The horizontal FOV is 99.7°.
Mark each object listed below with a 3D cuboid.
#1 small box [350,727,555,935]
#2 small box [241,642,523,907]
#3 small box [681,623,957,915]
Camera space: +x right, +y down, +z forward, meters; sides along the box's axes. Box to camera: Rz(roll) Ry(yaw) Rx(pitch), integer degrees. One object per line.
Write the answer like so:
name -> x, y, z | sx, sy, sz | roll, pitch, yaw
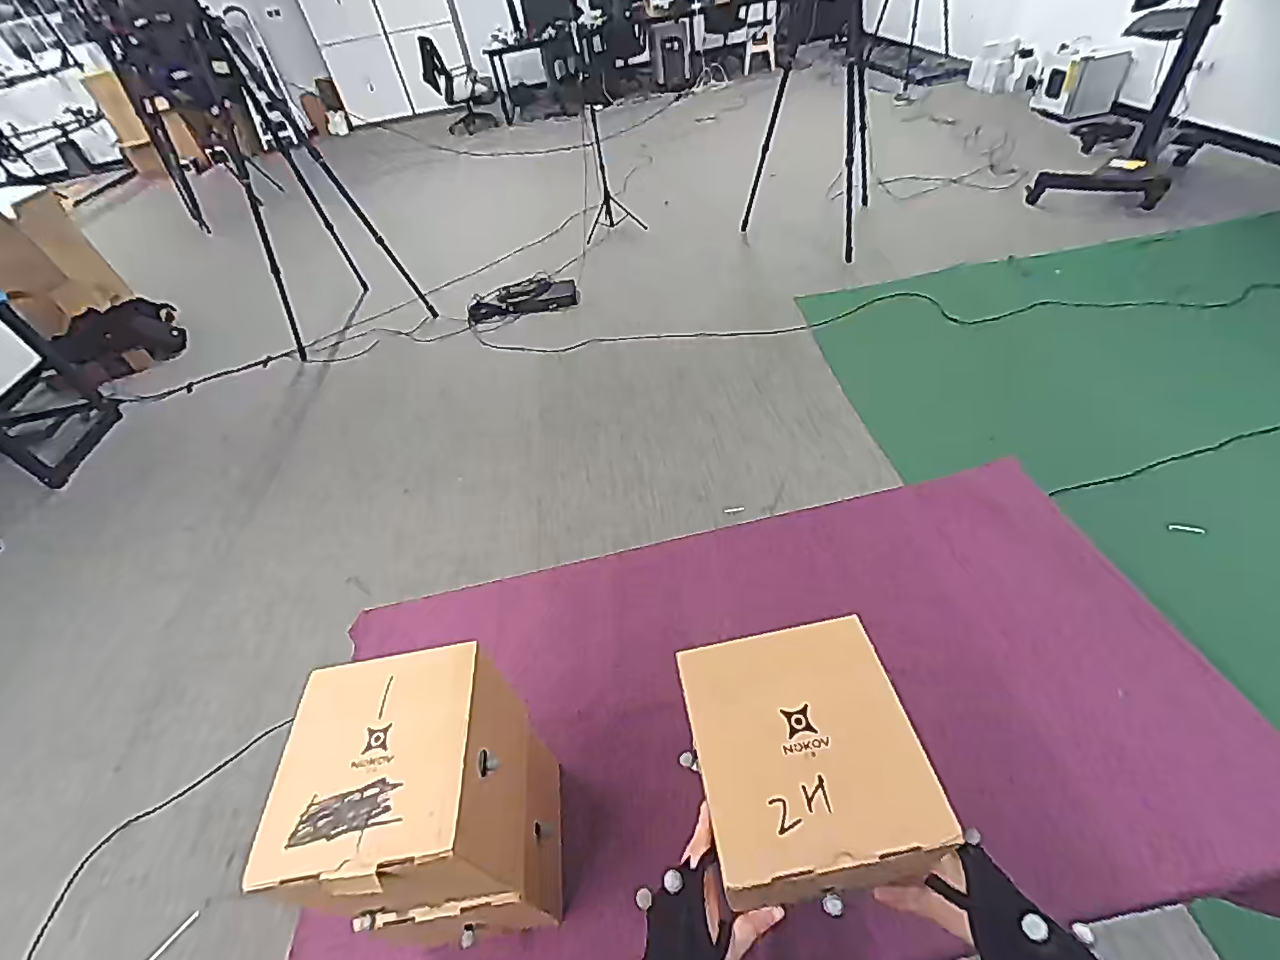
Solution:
small box -> -0.196, 0.404, 0.626 | 0.168, 0.176, 0.179 | -9, 46, 0
small box -> -0.216, 0.284, 0.515 | 0.168, 0.176, 0.179 | -9, 44, 1
small box -> 0.134, 0.255, 0.478 | 0.168, 0.176, 0.179 | -11, 46, 1
